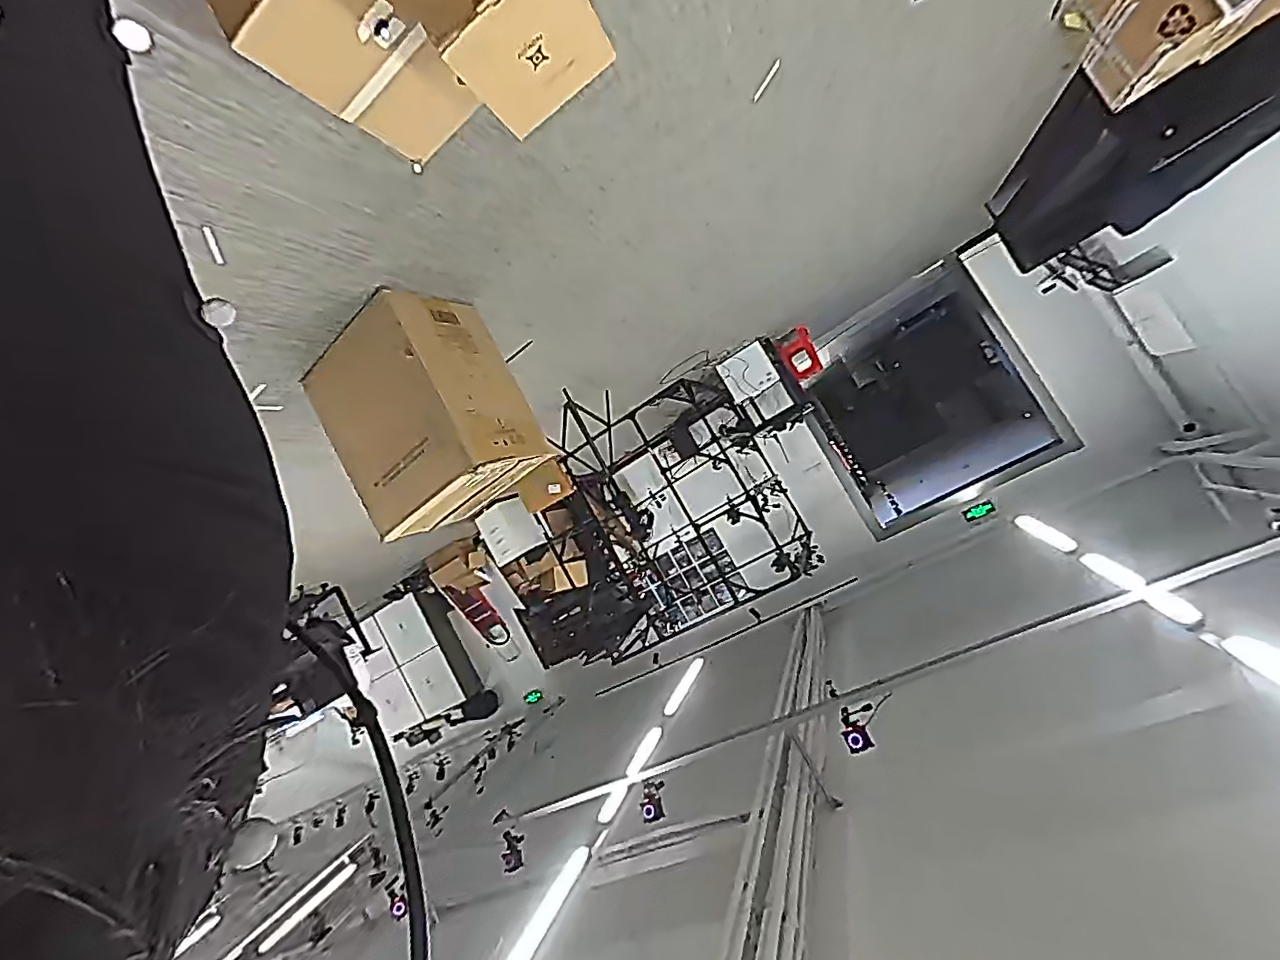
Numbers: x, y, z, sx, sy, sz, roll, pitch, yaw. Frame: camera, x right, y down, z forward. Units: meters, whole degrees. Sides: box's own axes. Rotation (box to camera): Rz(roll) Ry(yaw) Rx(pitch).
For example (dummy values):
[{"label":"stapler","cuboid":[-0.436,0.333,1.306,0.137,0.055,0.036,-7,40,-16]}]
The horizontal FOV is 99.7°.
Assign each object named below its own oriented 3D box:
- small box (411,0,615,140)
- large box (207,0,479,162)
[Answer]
[{"label":"small box","cuboid":[-0.161,-0.563,0.636,0.168,0.176,0.179,-28,176,17]},{"label":"large box","cuboid":[-0.335,-0.739,0.705,0.408,0.320,0.320,-30,175,20]}]
